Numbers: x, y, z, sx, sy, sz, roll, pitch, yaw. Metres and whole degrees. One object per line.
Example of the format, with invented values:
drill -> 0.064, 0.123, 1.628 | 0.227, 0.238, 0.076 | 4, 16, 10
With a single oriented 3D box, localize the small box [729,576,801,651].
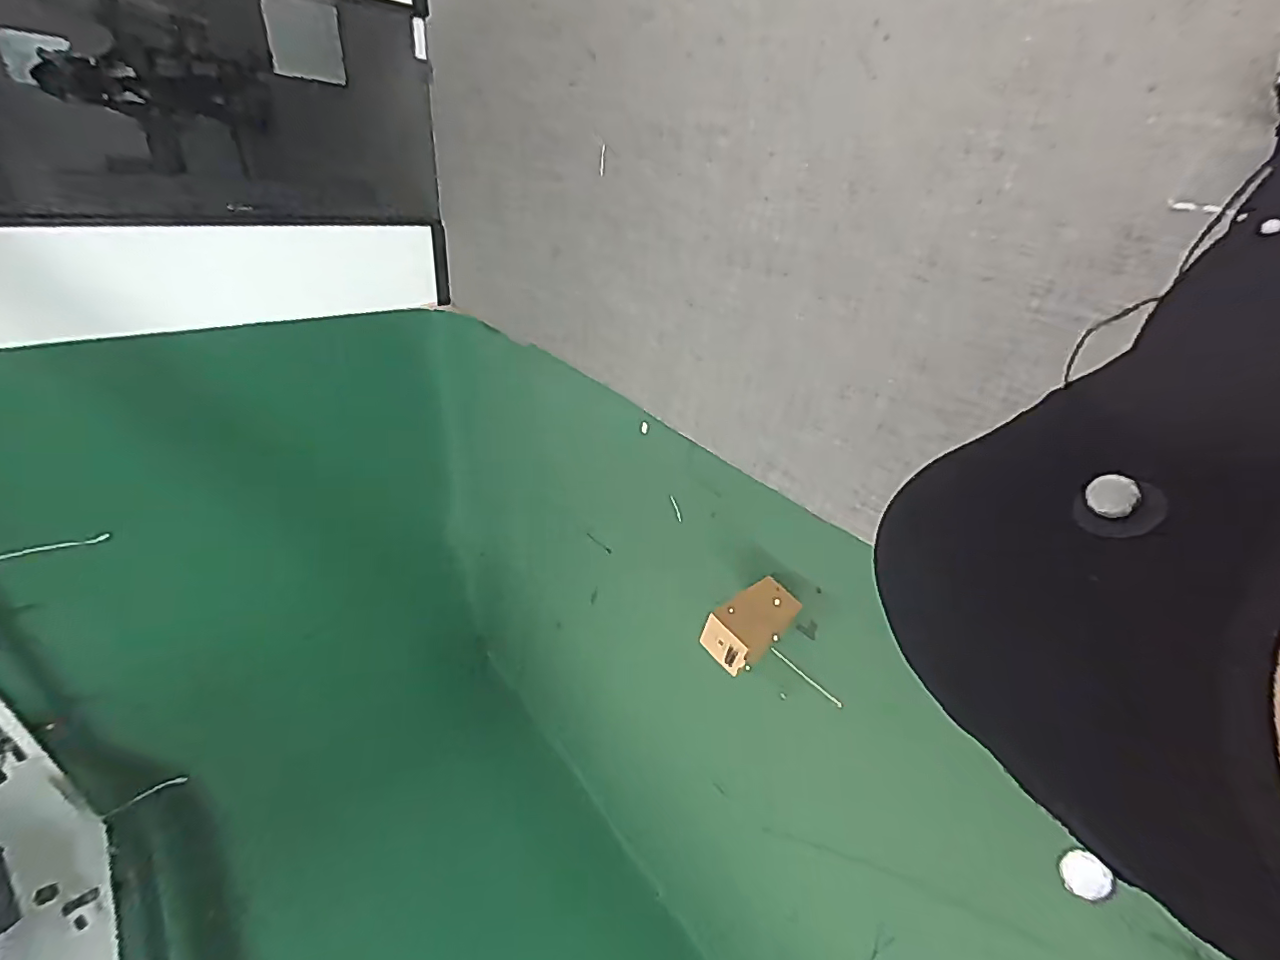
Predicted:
small box -> 0.463, 0.482, 1.981 | 0.168, 0.176, 0.179 | 42, 135, 30
